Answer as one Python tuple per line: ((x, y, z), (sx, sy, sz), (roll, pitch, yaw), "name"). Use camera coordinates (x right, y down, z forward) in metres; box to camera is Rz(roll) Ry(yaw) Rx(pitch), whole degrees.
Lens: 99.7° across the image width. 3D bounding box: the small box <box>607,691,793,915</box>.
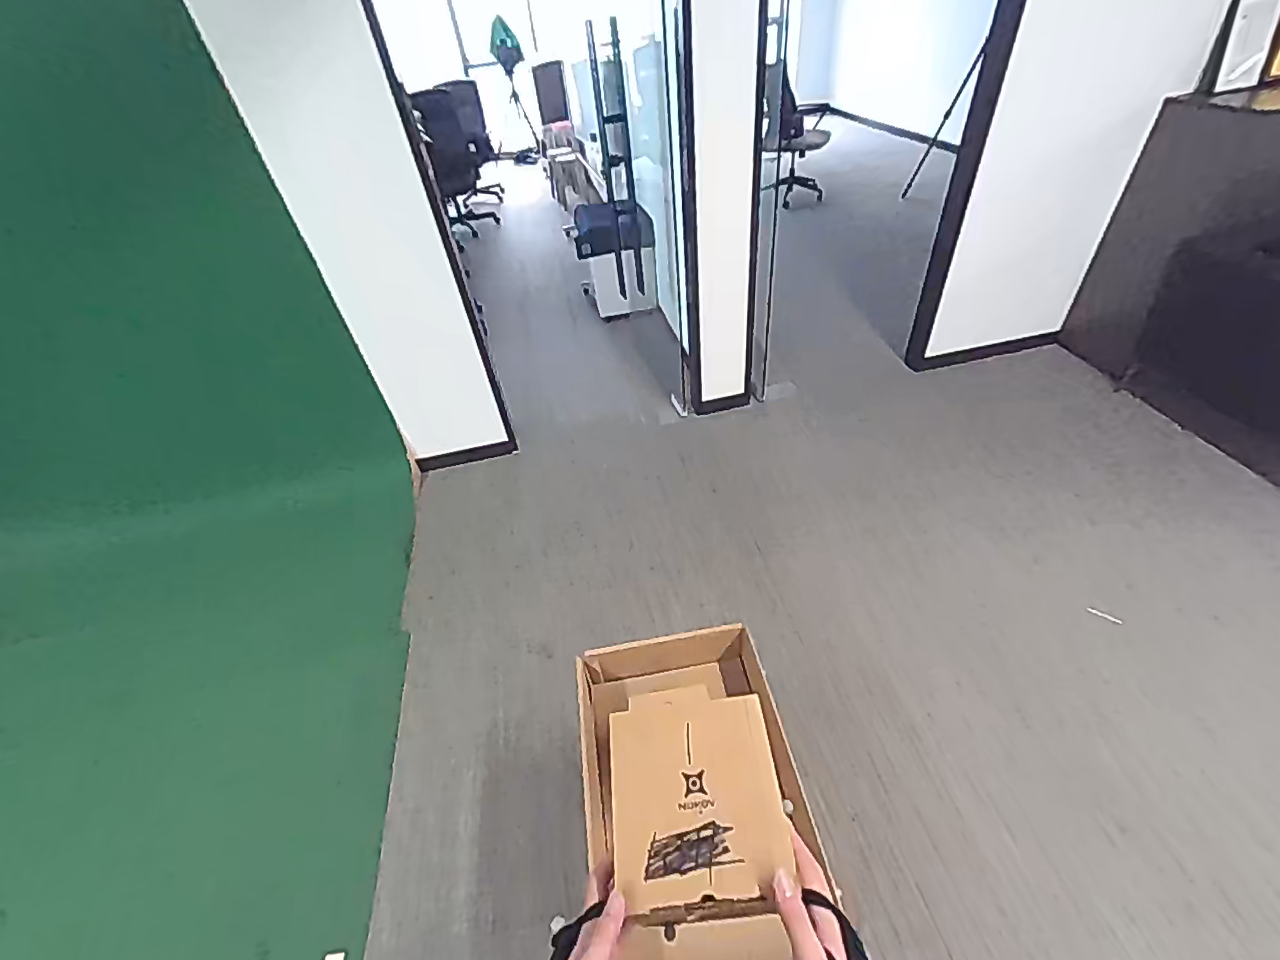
((0.062, 0.355, 0.587), (0.168, 0.176, 0.179), (-9, 47, 3), "small box")
